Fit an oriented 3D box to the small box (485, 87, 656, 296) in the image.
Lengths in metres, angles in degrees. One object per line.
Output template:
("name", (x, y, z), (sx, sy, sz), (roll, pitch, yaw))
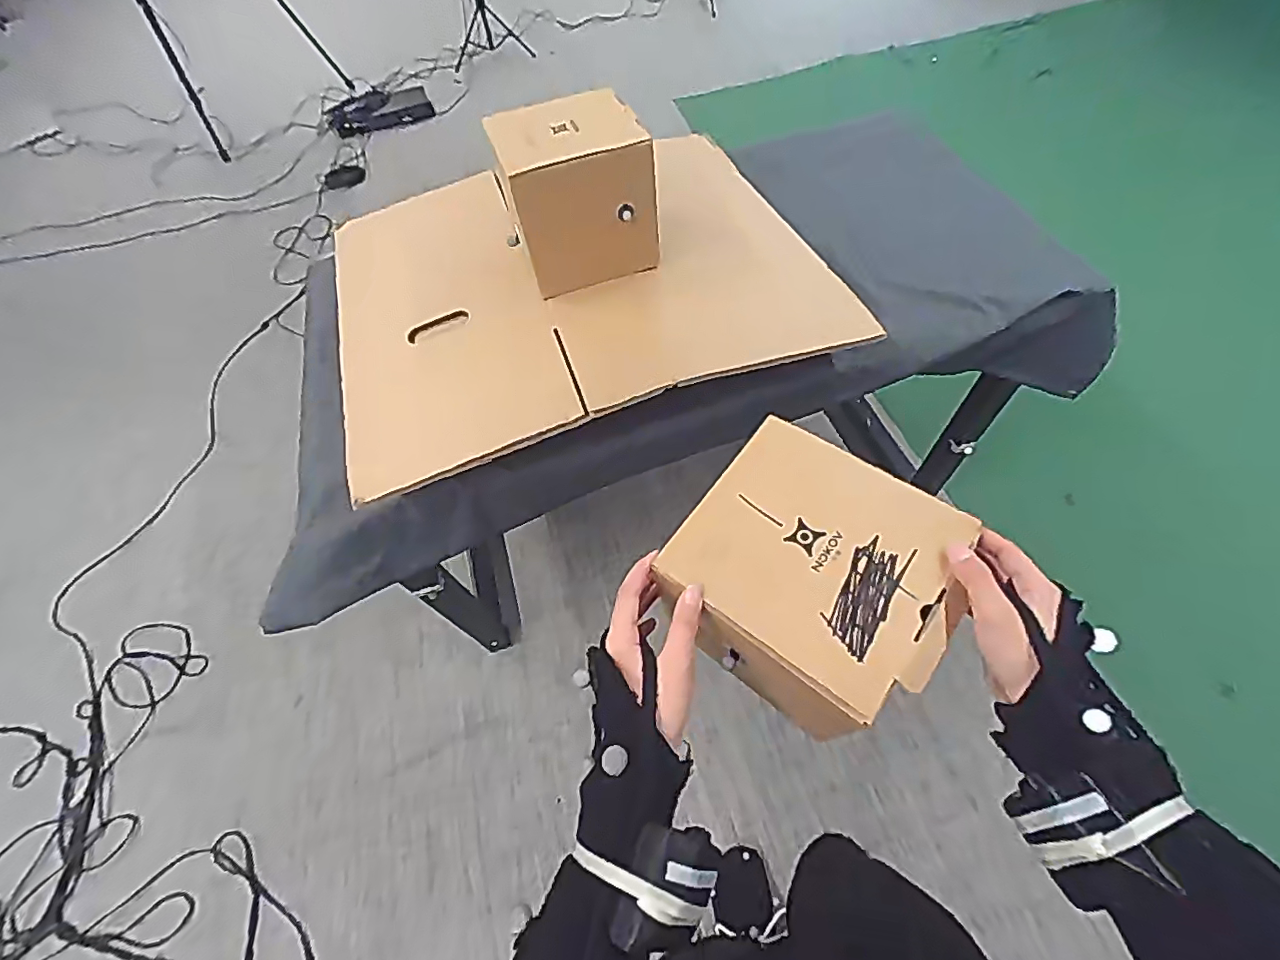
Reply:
("small box", (-0.084, -0.378, 0.718), (0.179, 0.176, 0.168), (-20, 56, -7))
